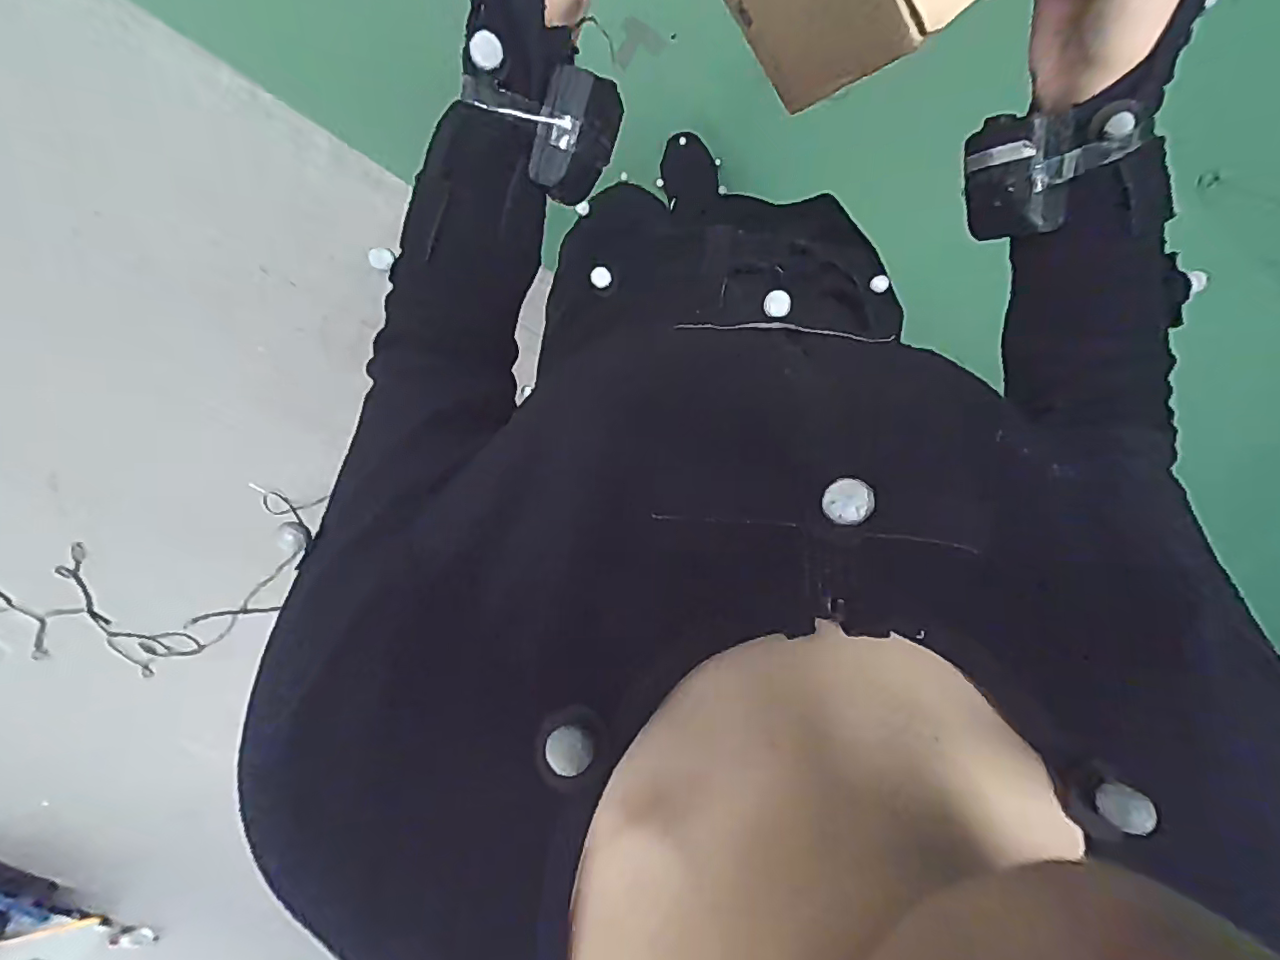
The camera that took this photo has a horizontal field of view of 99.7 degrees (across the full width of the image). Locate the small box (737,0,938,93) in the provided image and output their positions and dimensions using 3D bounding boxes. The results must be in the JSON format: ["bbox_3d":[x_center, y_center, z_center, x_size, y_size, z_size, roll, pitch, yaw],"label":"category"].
[{"bbox_3d":[0.110,-0.307,0.224,0.179,0.176,0.168,-38,112,16],"label":"small box"}]
